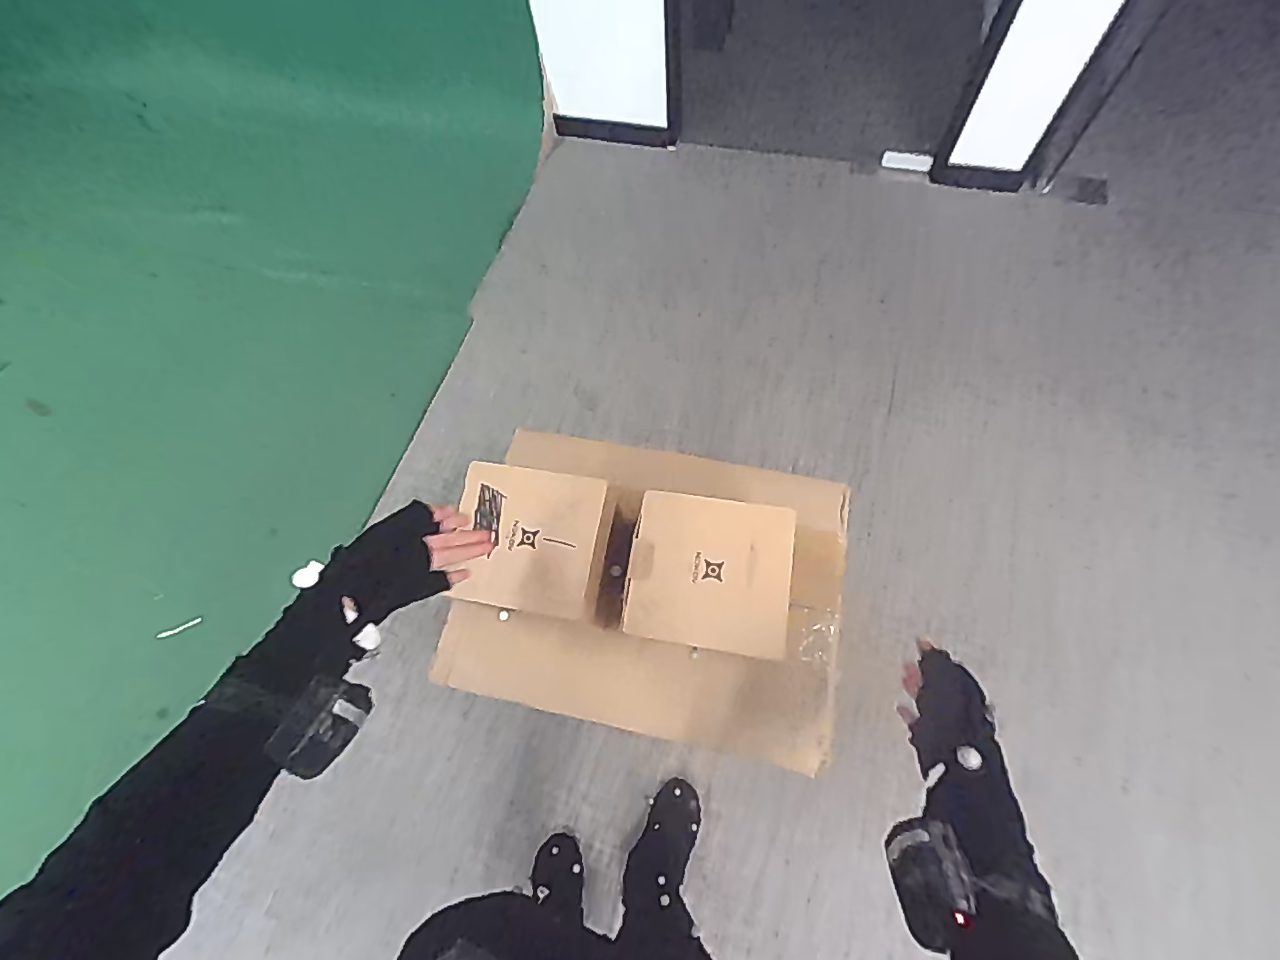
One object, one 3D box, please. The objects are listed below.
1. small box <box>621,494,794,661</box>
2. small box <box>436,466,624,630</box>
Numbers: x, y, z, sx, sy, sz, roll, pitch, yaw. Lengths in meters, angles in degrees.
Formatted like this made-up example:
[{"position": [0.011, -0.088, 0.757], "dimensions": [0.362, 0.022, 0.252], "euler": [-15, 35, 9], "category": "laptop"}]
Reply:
[{"position": [0.083, 0.128, 0.672], "dimensions": [0.179, 0.176, 0.168], "euler": [7, 73, 6], "category": "small box"}, {"position": [-0.127, 0.096, 0.701], "dimensions": [0.179, 0.176, 0.168], "euler": [9, 73, 8], "category": "small box"}]
